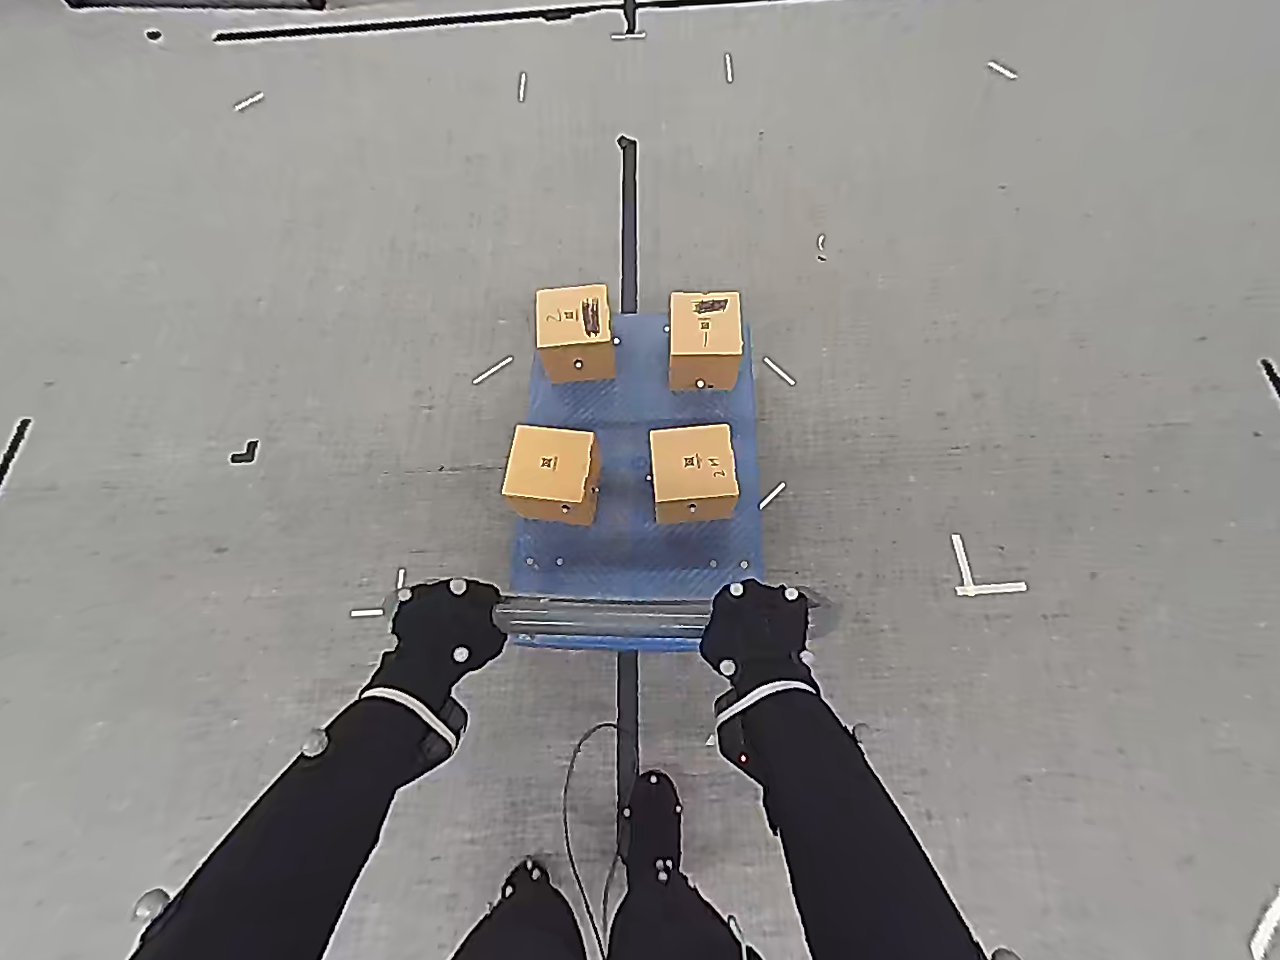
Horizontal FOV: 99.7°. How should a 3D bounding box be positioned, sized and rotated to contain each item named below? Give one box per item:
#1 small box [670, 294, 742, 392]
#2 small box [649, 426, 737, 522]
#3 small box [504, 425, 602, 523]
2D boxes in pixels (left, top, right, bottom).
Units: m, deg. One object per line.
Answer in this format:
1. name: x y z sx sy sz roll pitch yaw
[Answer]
1. small box: 0.158 -0.336 1.339 0.168 0.176 0.179 1 71 3
2. small box: 0.116 -0.007 1.220 0.179 0.176 0.168 -4 70 1
3. small box: -0.191 -0.008 1.235 0.179 0.176 0.168 7 70 3
